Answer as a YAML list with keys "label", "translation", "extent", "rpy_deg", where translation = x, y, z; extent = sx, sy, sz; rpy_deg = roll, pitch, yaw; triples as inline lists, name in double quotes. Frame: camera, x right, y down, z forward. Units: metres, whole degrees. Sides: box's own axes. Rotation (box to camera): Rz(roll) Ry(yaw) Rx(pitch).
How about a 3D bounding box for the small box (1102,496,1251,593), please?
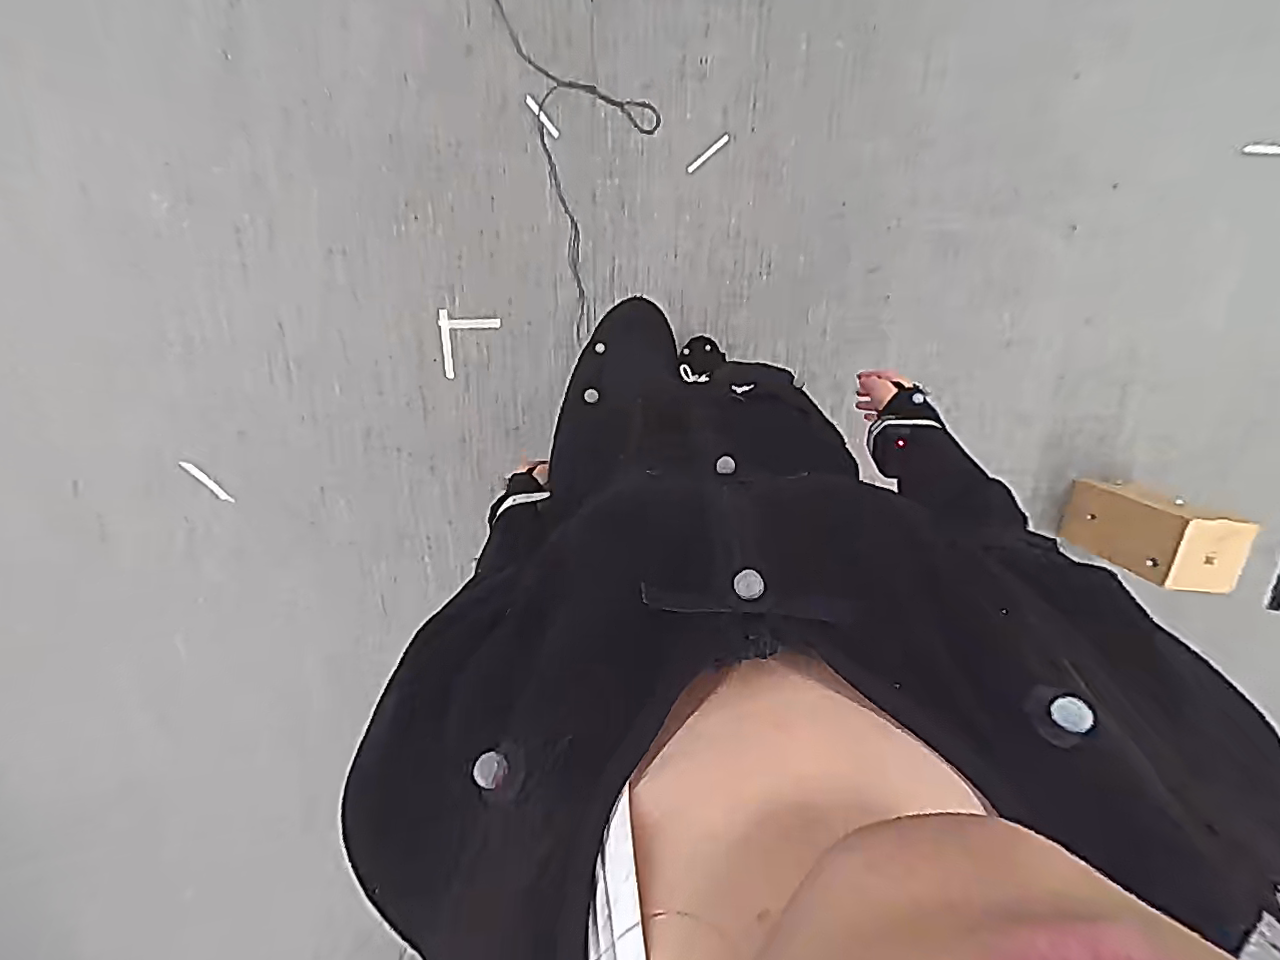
- label: "small box"
  translation: [1.284, 0.152, 1.311]
  extent: [0.168, 0.176, 0.179]
  rpy_deg: [5, 105, -3]
